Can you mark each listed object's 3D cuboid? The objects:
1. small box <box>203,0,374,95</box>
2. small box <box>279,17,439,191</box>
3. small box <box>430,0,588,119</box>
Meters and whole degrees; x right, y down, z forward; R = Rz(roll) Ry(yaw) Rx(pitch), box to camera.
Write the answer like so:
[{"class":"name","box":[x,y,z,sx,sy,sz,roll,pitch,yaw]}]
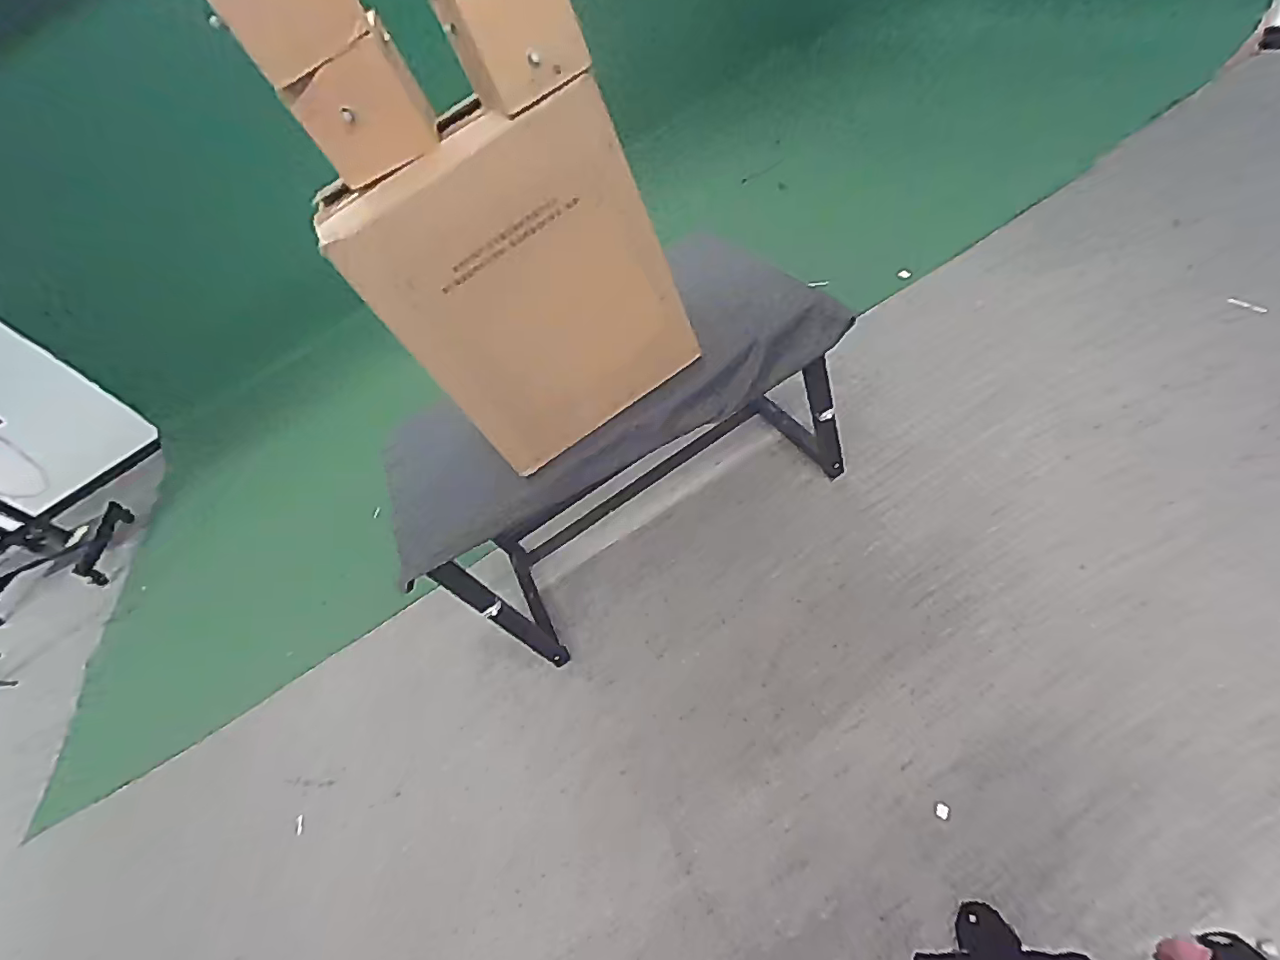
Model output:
[{"class":"small box","box":[-0.540,-0.715,0.805,0.179,0.176,0.168,-38,55,-6]},{"class":"small box","box":[-0.474,-0.640,0.934,0.179,0.176,0.168,-24,54,6]},{"class":"small box","box":[-0.212,-0.727,0.889,0.168,0.176,0.179,-35,46,-4]}]
